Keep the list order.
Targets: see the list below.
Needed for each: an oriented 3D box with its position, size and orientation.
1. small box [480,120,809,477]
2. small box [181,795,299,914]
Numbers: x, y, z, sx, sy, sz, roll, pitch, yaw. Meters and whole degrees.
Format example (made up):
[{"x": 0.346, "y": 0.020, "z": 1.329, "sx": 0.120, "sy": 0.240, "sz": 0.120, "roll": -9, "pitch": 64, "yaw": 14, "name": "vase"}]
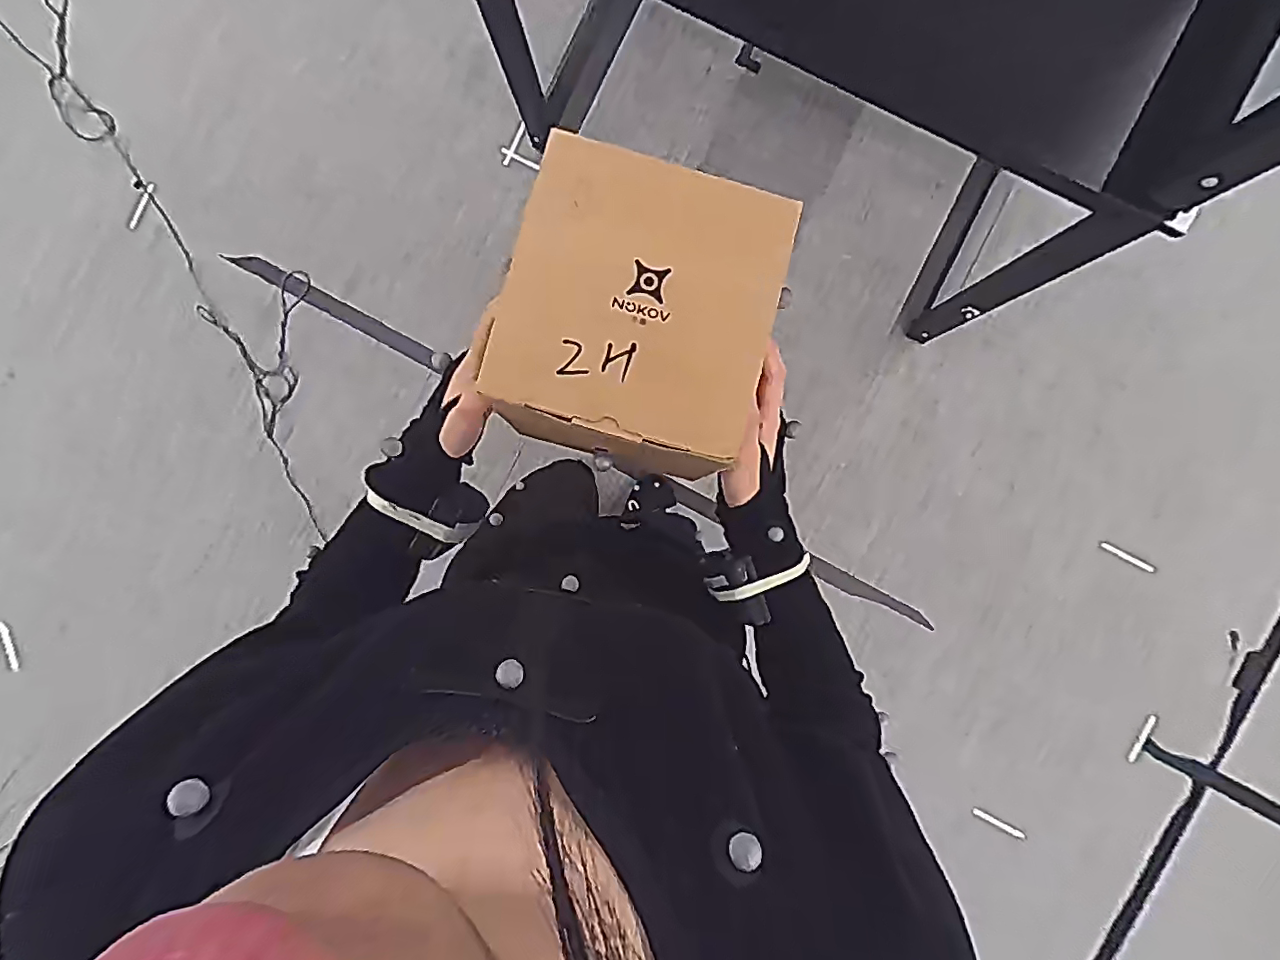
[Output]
[{"x": 0.000, "y": -0.109, "z": 0.404, "sx": 0.168, "sy": 0.176, "sz": 0.179, "roll": 16, "pitch": 86, "yaw": -3, "name": "small box"}, {"x": -1.054, "y": 0.988, "z": 1.443, "sx": 0.168, "sy": 0.176, "sz": 0.179, "roll": 21, "pitch": 92, "yaw": 1, "name": "small box"}]
